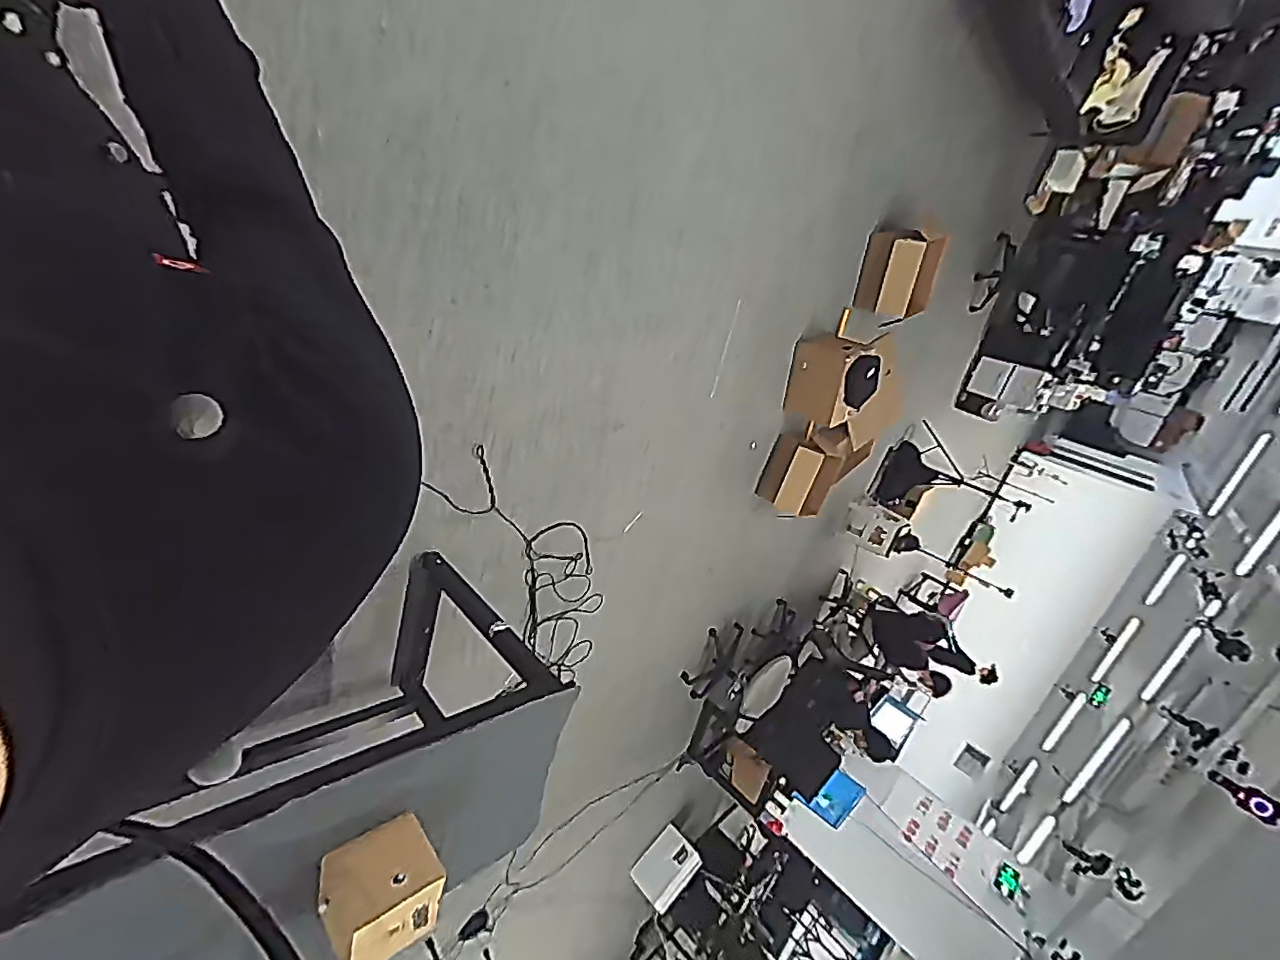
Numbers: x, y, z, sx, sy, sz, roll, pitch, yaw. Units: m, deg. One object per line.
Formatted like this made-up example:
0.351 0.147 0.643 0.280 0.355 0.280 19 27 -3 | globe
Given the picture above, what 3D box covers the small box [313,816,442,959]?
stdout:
-0.526 0.824 1.079 0.179 0.176 0.168 -6 120 -46 | small box
